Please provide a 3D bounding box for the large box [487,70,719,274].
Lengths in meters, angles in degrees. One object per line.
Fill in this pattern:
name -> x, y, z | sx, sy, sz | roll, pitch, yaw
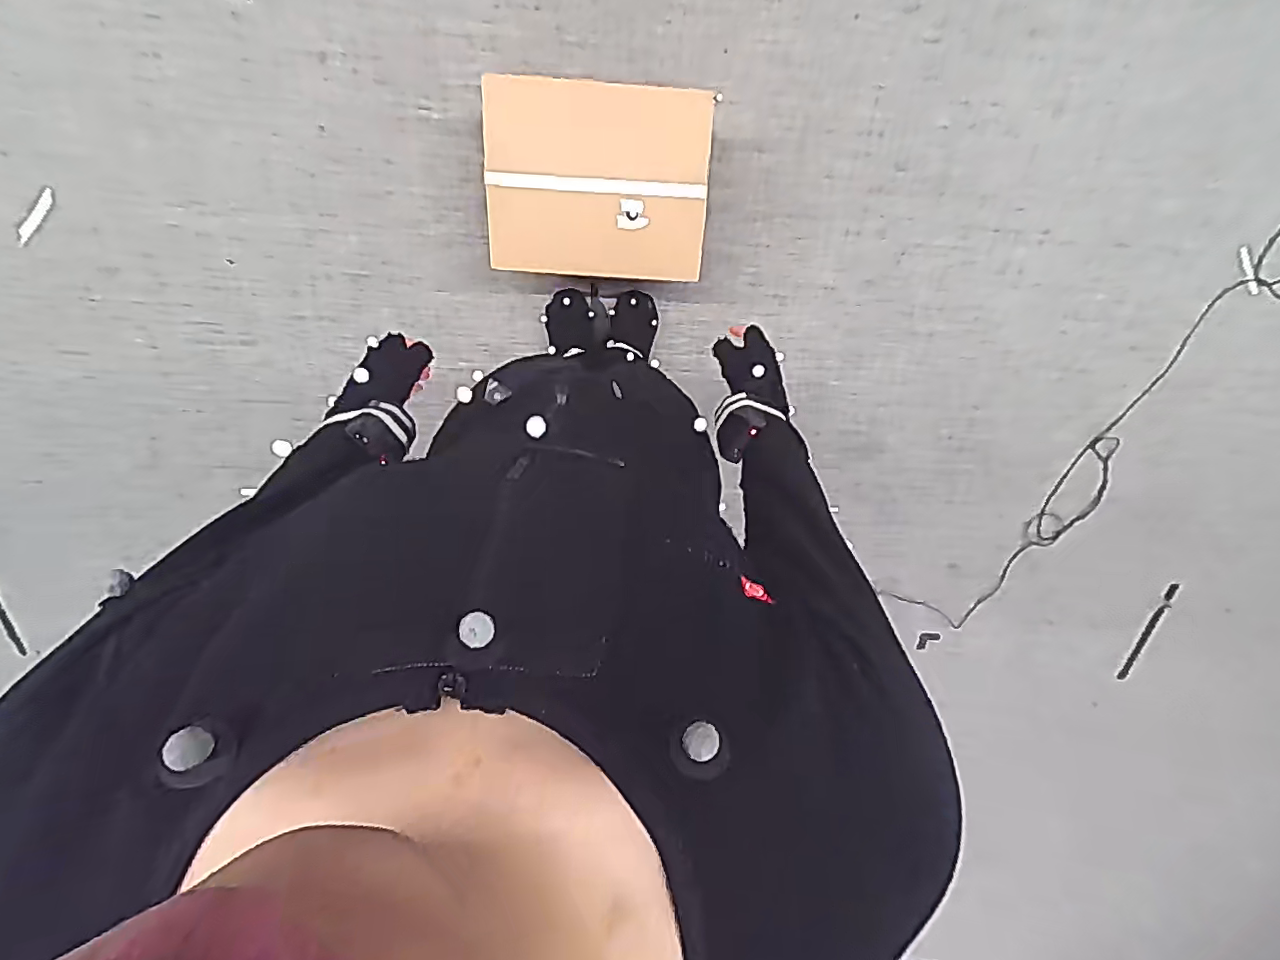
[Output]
large box -> -0.075, -0.605, 1.116 | 0.408, 0.320, 0.320 | 2, 114, -3
